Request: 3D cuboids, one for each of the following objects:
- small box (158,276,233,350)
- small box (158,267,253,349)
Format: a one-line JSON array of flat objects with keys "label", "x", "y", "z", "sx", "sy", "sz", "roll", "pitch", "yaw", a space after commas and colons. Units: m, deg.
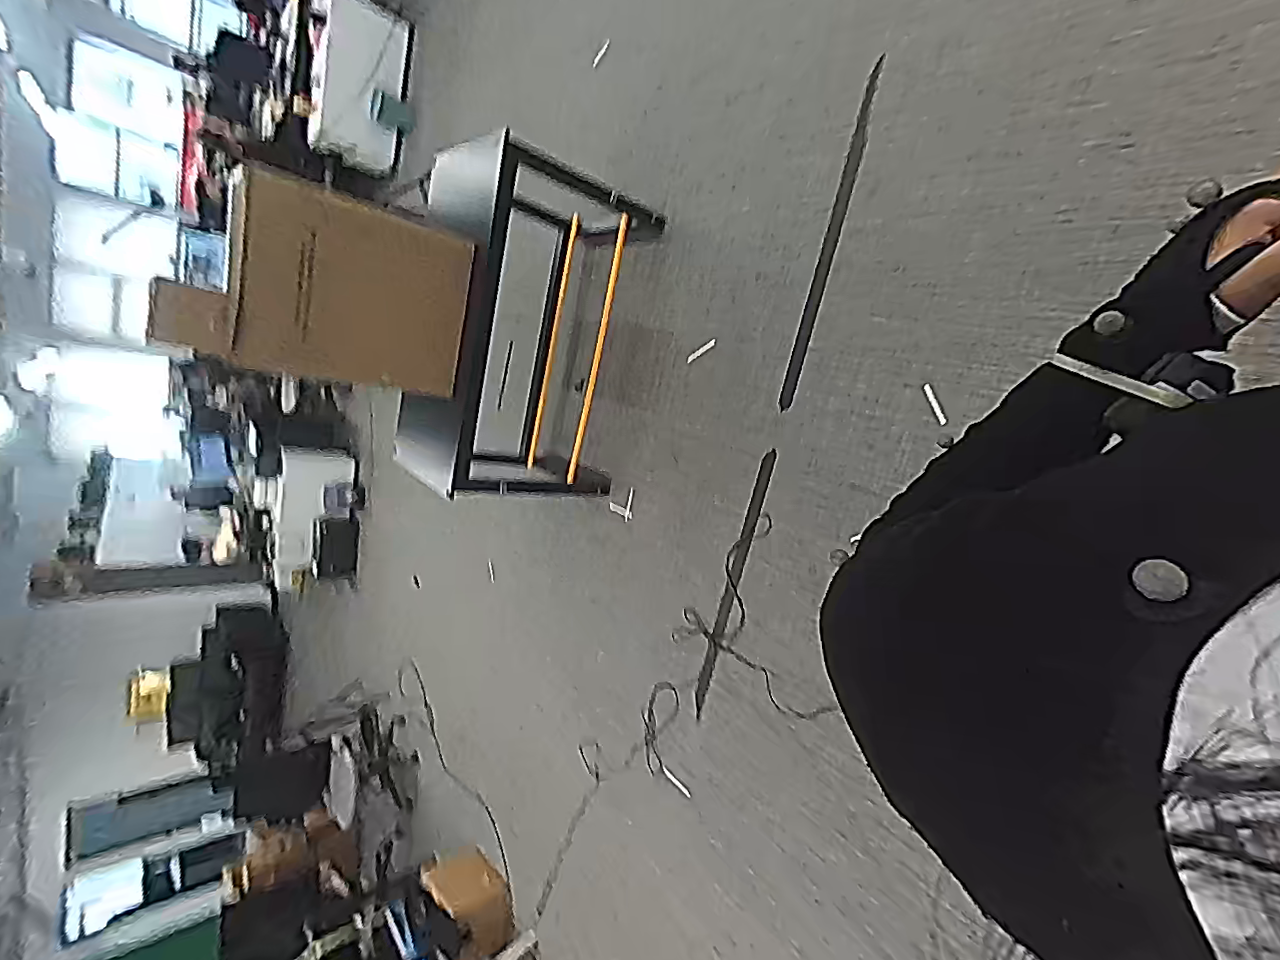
[{"label": "small box", "x": -1.280, "y": -0.483, "z": 1.570, "sx": 0.179, "sy": 0.176, "sz": 0.168, "roll": 28, "pitch": 108, "yaw": 45}, {"label": "small box", "x": -1.151, "y": -0.449, "z": 1.431, "sx": 0.179, "sy": 0.176, "sz": 0.168, "roll": 16, "pitch": 98, "yaw": 43}]
